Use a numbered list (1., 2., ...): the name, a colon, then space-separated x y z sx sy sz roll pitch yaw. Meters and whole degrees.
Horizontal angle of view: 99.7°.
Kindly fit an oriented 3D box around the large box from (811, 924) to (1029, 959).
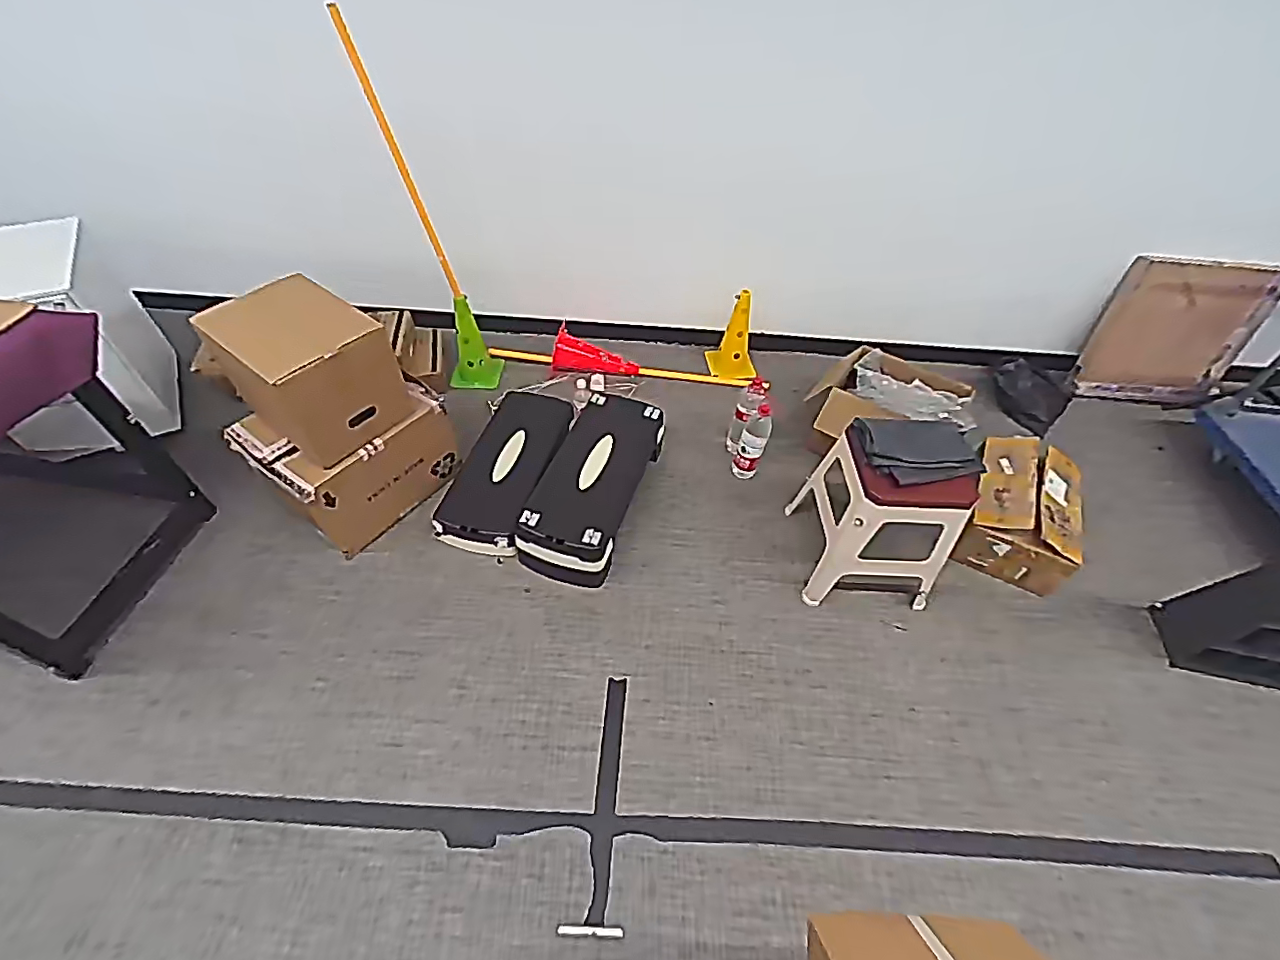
1. large box: 0.393 0.795 0.587 0.320 0.408 0.320 4 82 0
